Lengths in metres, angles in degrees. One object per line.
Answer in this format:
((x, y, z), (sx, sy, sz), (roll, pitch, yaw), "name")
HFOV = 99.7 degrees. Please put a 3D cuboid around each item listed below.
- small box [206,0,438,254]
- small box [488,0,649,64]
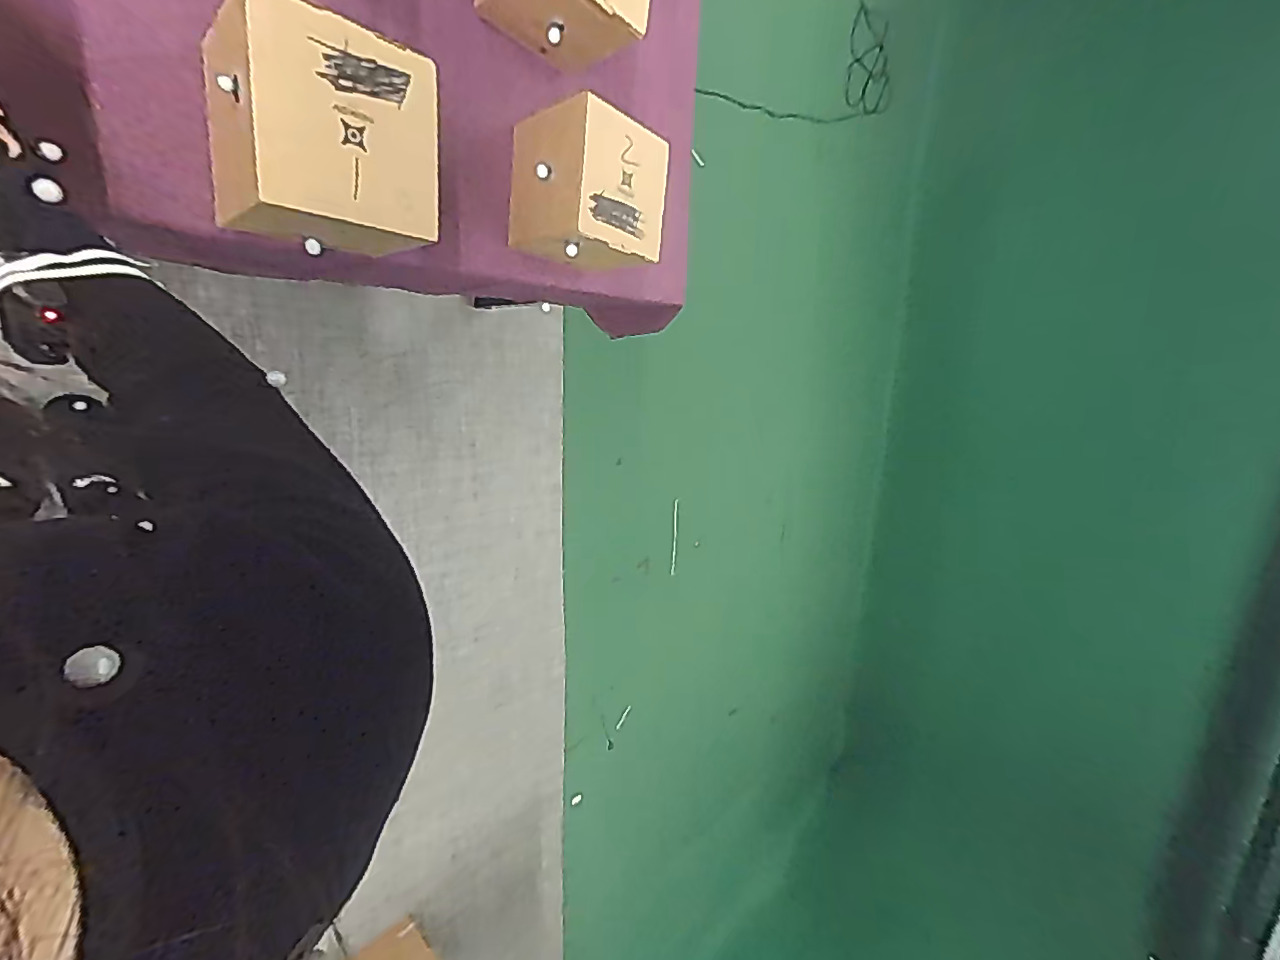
((-0.326, -0.348, 0.558), (0.168, 0.176, 0.179), (-8, 106, -45), "small box")
((-0.096, -0.701, 0.712), (0.168, 0.176, 0.179), (-2, 102, -48), "small box")
